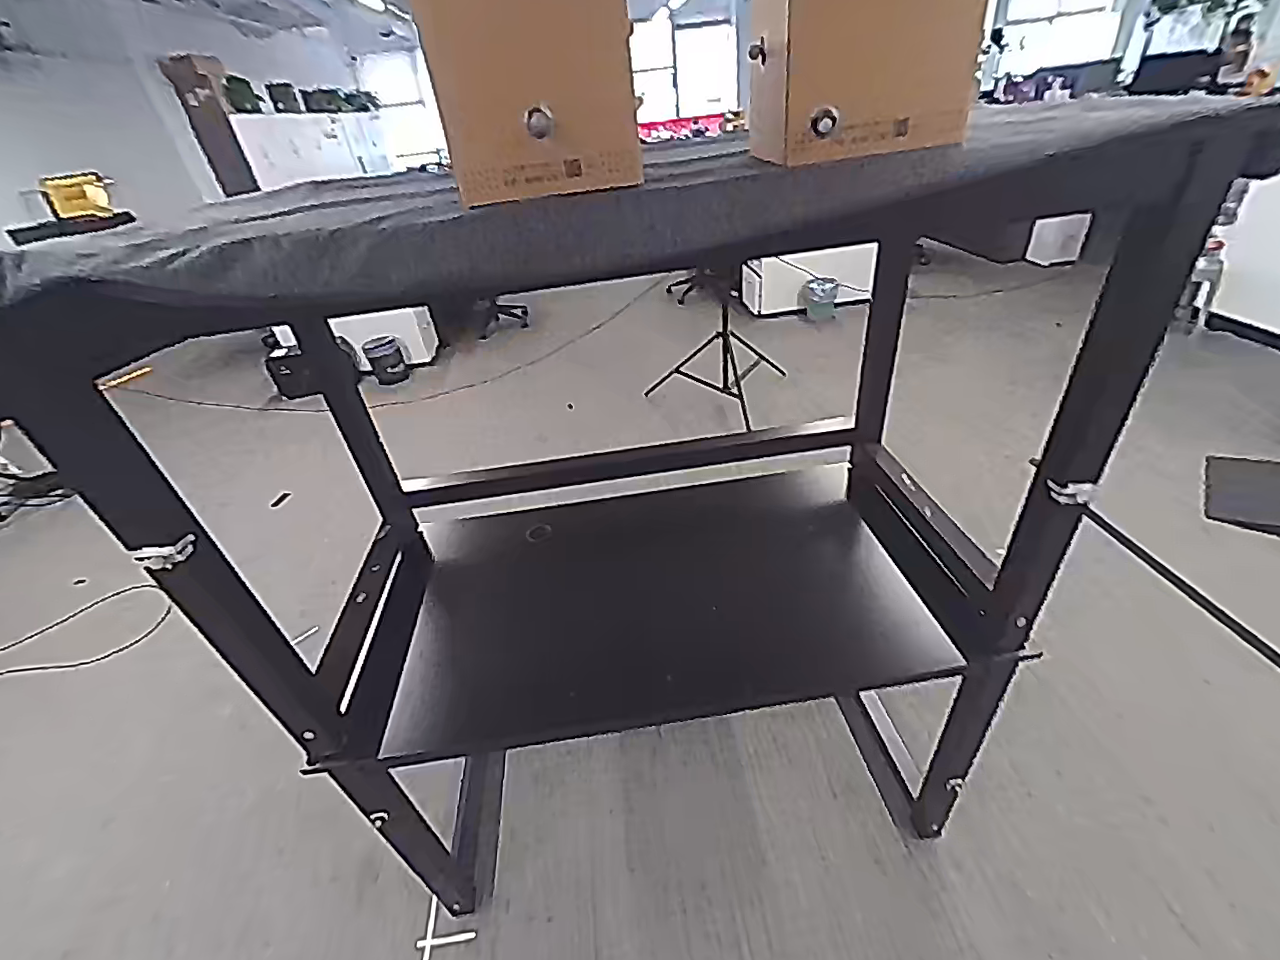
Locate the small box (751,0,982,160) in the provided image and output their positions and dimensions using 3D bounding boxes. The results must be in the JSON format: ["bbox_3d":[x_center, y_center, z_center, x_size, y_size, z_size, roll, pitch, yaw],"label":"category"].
[{"bbox_3d":[0.205,-0.416,0.521,0.168,0.176,0.179,-6,33,2],"label":"small box"}]

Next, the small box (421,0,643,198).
[{"bbox_3d":[-0.092,-0.373,0.512,0.168,0.176,0.179,-9,32,-1],"label":"small box"}]
